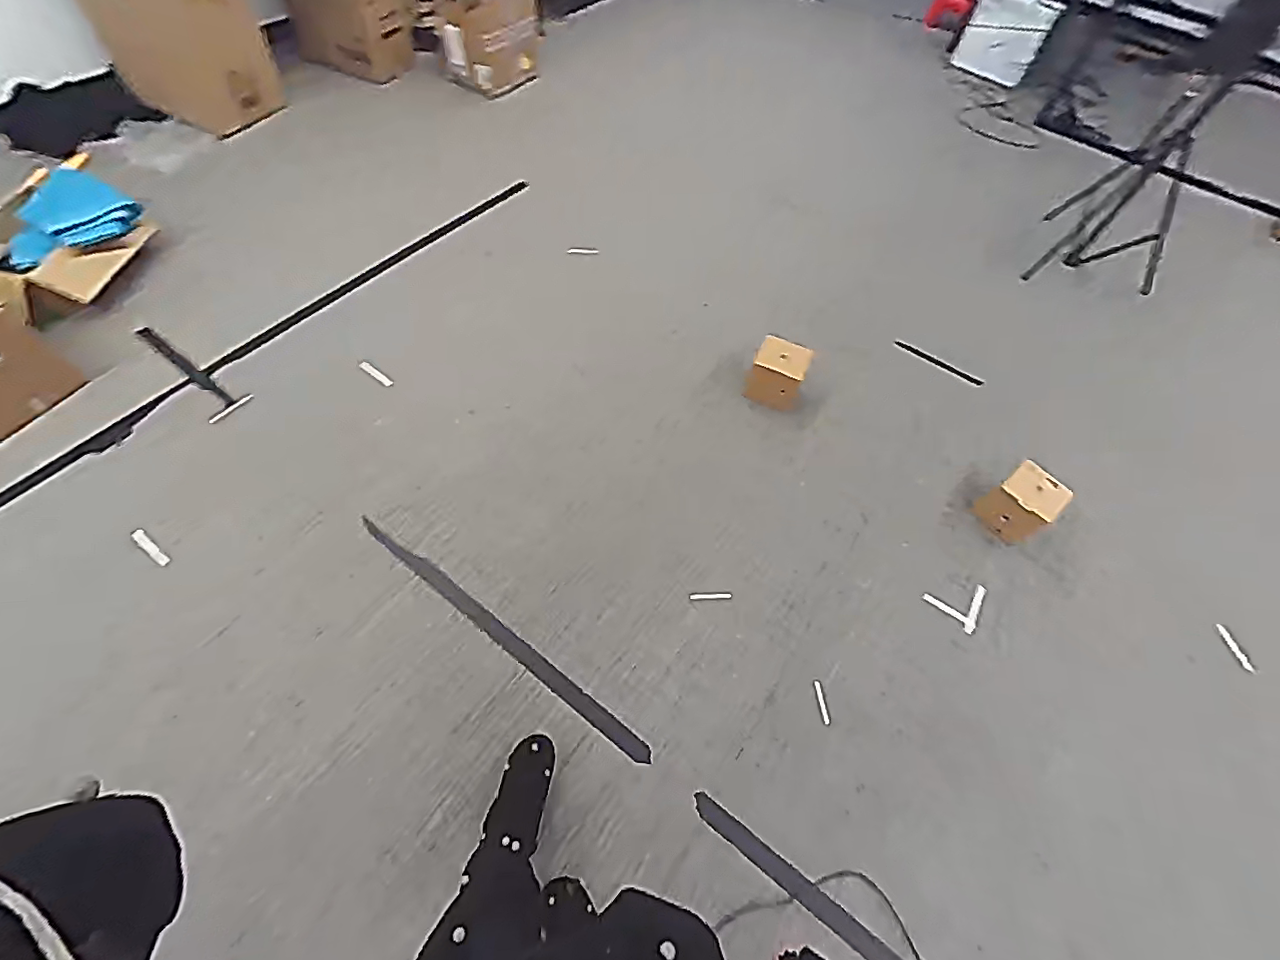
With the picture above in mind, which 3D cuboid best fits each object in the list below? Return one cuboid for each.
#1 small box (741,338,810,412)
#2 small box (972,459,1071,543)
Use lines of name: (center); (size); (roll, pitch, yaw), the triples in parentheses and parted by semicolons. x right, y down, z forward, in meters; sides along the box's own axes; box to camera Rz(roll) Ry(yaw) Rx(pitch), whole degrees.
small box: (0.483, -0.371, 1.939); (0.179, 0.176, 0.168); (22, 57, 10)
small box: (1.207, 0.074, 1.730); (0.179, 0.176, 0.168); (-34, 67, -23)
